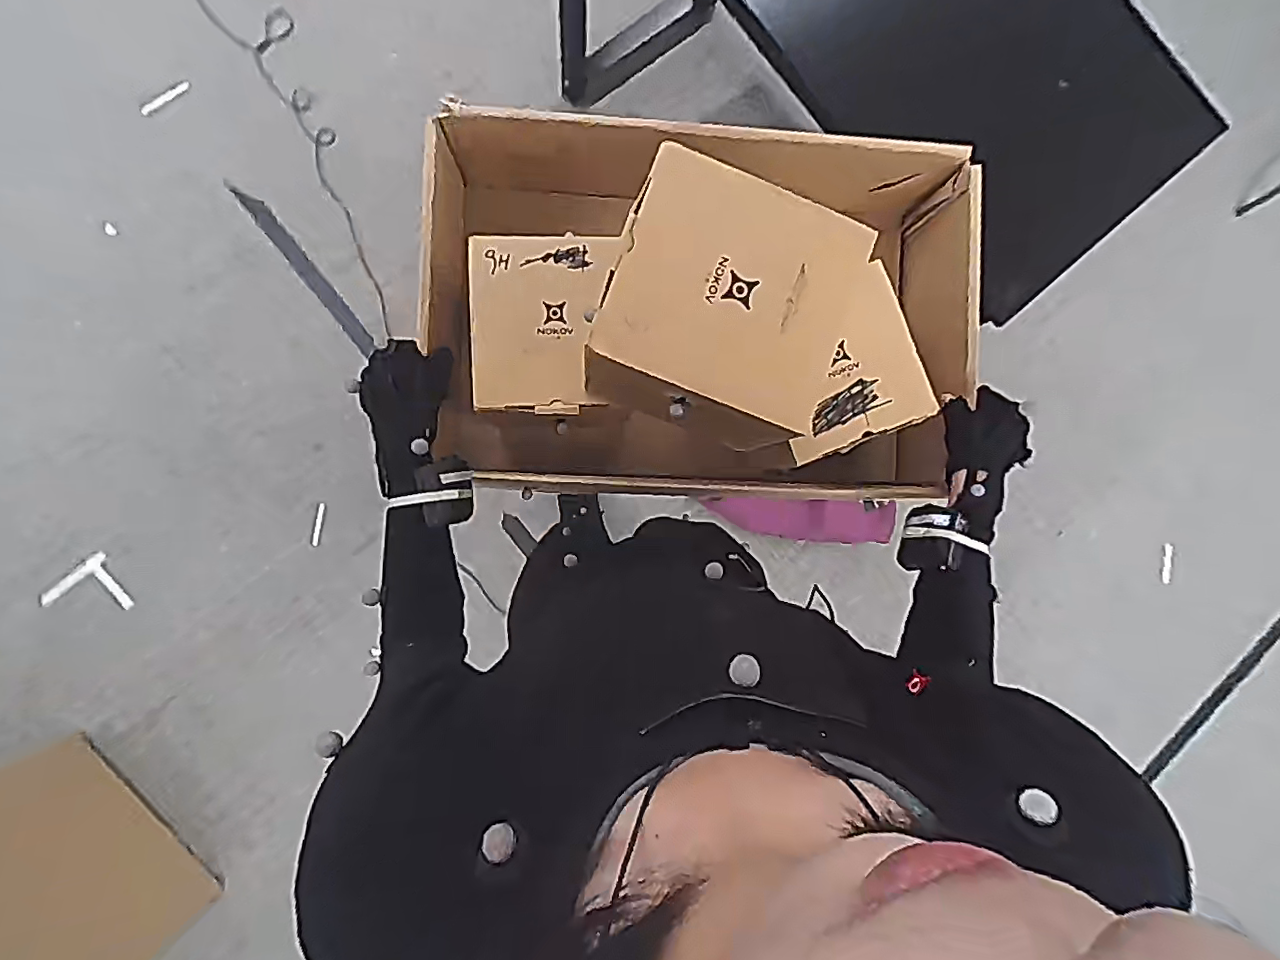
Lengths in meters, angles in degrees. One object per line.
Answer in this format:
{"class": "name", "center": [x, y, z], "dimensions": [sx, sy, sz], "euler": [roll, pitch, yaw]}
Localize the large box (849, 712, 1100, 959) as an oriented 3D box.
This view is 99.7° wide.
{"class": "large box", "center": [0.846, 0.905, 1.411], "dimensions": [0.408, 0.320, 0.320], "euler": [-43, 91, -8]}
